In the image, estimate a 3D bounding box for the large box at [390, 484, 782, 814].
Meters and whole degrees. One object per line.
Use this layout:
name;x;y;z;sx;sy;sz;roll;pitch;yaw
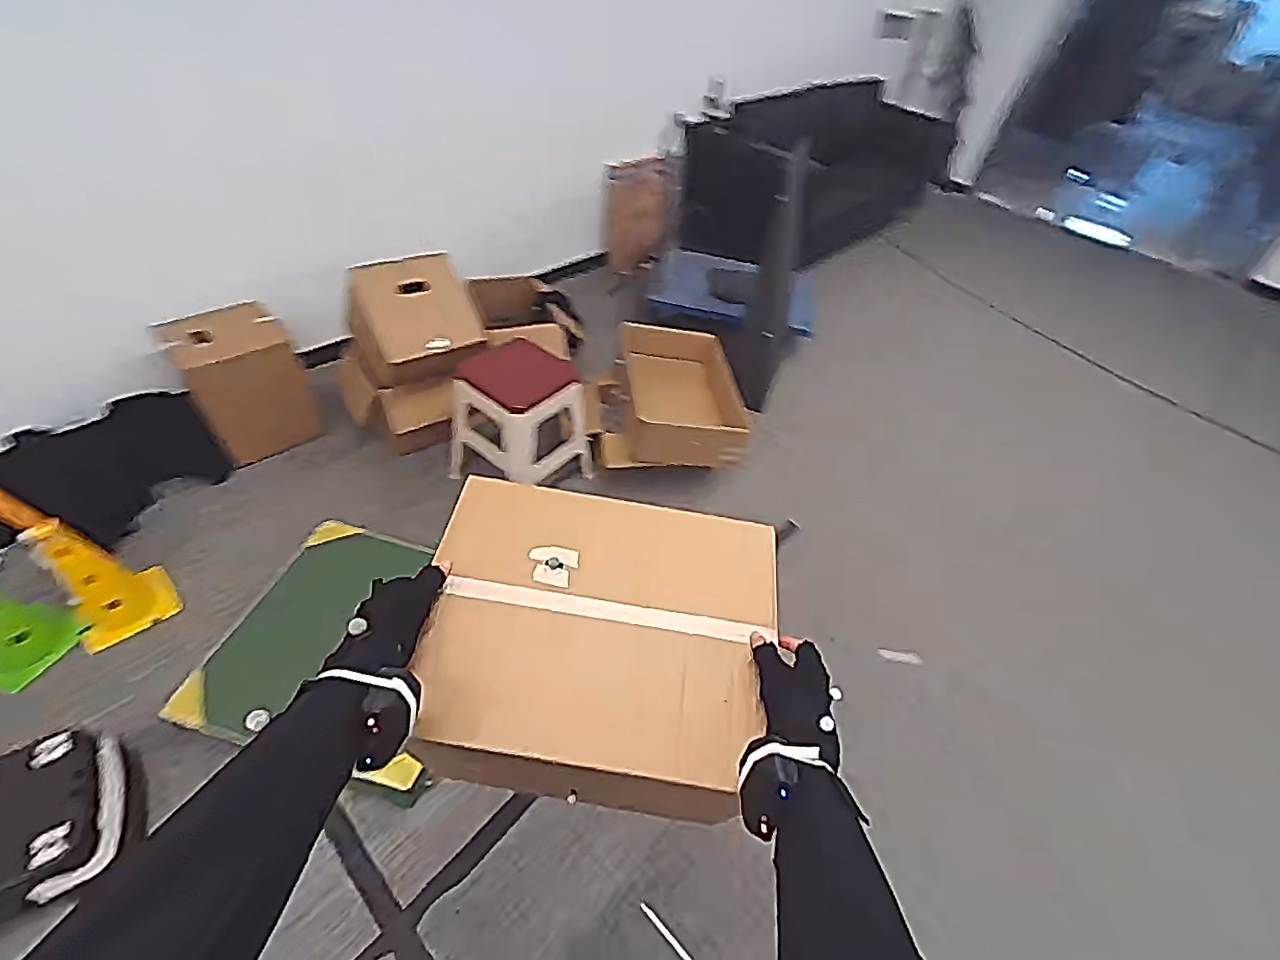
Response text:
large box;-0.045;0.244;0.743;0.408;0.320;0.320;10;53;1
